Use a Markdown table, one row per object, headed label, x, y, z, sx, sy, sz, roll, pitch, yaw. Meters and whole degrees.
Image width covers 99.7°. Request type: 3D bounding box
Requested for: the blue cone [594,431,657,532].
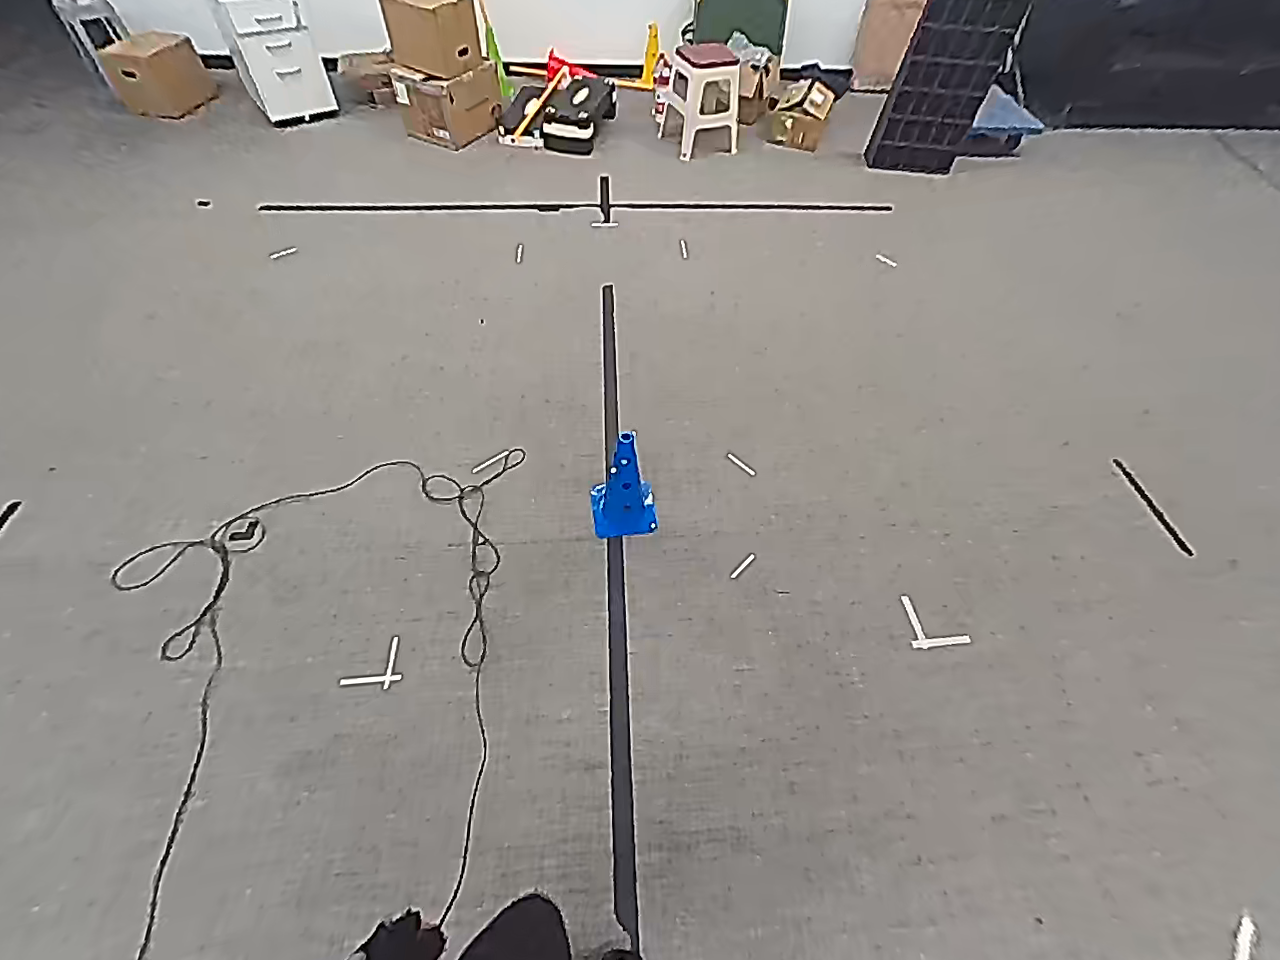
| label | x | y | z | sx | sy | sz | roll | pitch | yaw |
| --- | --- | --- | --- | --- | --- | --- | --- | --- | --- |
| blue cone | -0.039 | -0.012 | 1.620 | 0.192 | 0.380 | 0.193 | -3 | 54 | -7 |
